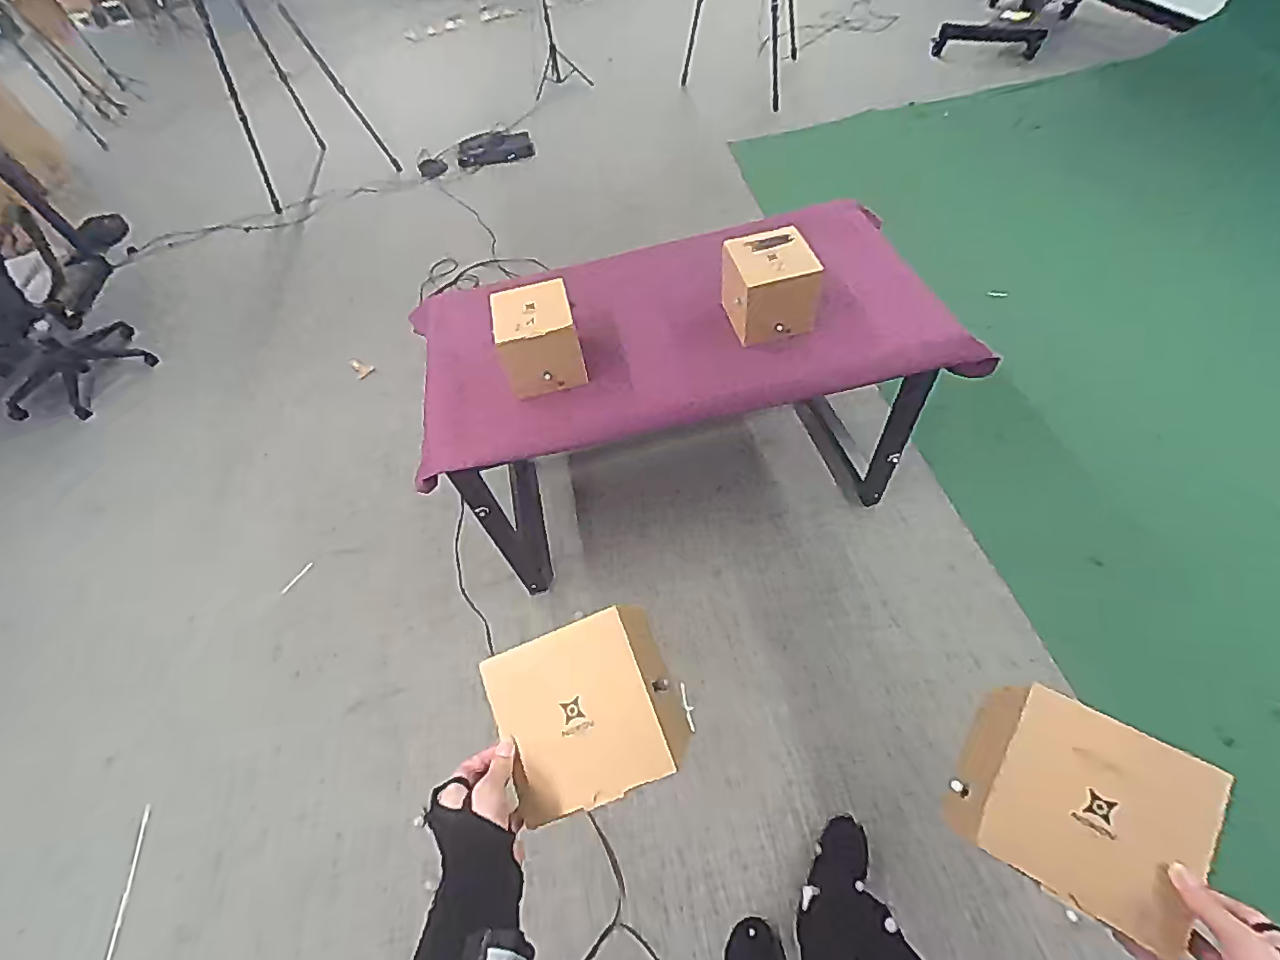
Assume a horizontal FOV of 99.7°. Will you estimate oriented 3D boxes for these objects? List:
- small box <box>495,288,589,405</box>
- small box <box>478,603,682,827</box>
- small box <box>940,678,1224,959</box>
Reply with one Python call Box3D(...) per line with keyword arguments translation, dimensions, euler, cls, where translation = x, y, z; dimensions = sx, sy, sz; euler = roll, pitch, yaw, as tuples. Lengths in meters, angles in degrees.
Box3D(translation=(-0.220, -0.299, 1.223), dimensions=(0.168, 0.176, 0.179), euler=(-14, 54, -1), cls="small box")
Box3D(translation=(-0.060, 0.259, 0.637), dimensions=(0.168, 0.176, 0.179), euler=(-24, 75, 3), cls="small box")
Box3D(translation=(0.445, 0.338, 0.578), dimensions=(0.168, 0.176, 0.179), euler=(25, 75, 25), cls="small box")
